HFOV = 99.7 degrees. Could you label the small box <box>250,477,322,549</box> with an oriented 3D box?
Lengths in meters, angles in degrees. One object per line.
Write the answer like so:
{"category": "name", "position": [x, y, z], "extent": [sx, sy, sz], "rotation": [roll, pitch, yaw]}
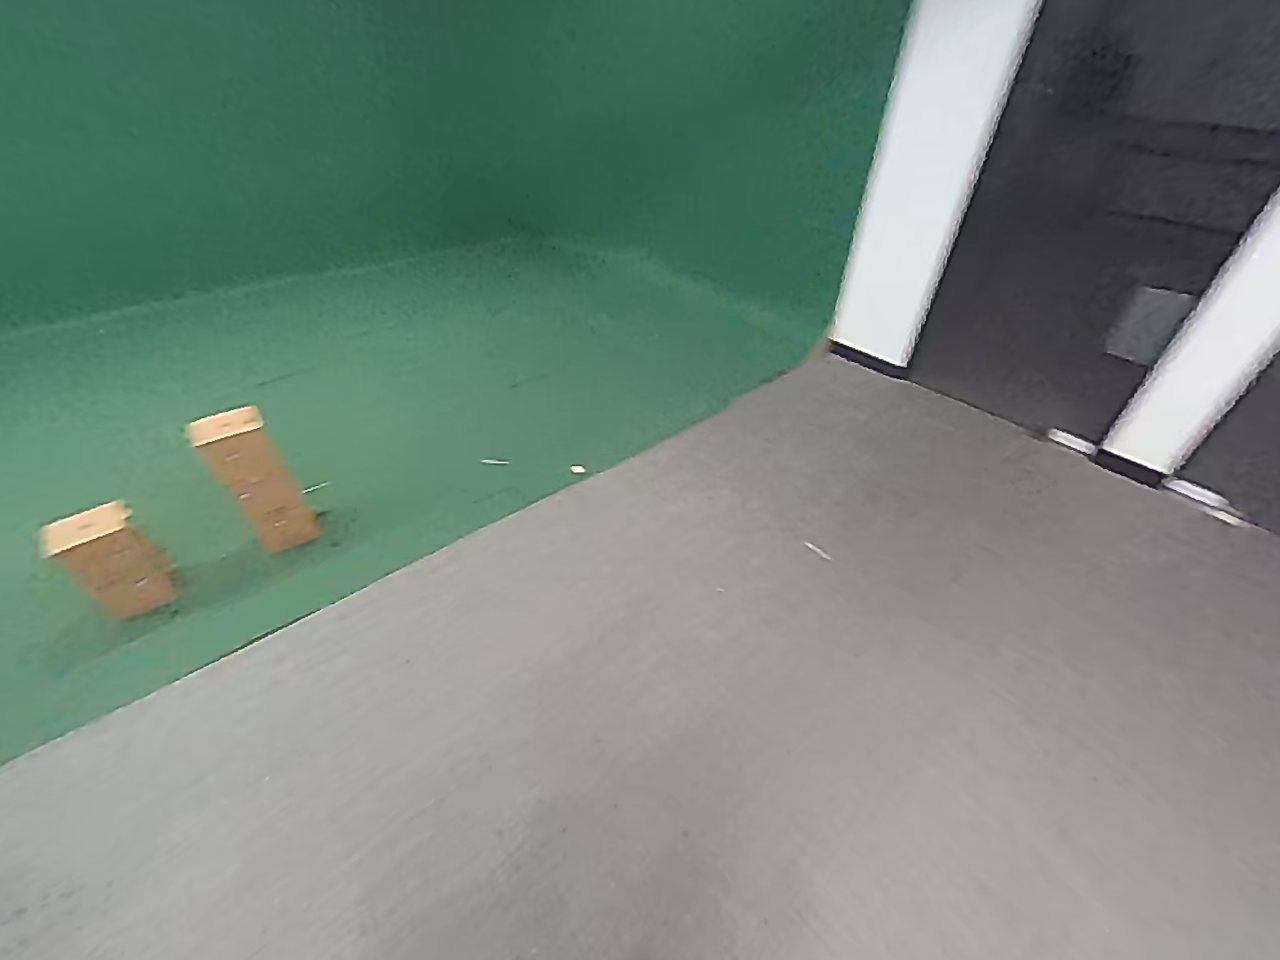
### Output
{"category": "small box", "position": [-1.299, 0.122, 1.995], "extent": [0.179, 0.176, 0.168], "rotation": [-24, 47, -27]}

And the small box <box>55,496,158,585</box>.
{"category": "small box", "position": [-1.625, 0.185, 1.656], "extent": [0.179, 0.176, 0.168], "rotation": [-30, 49, -31]}

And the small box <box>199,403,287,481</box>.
{"category": "small box", "position": [-1.302, -0.124, 1.778], "extent": [0.179, 0.176, 0.168], "rotation": [-26, 47, -27]}

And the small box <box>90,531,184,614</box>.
{"category": "small box", "position": [-1.634, 0.302, 1.769], "extent": [0.179, 0.176, 0.168], "rotation": [-23, 46, -25]}
